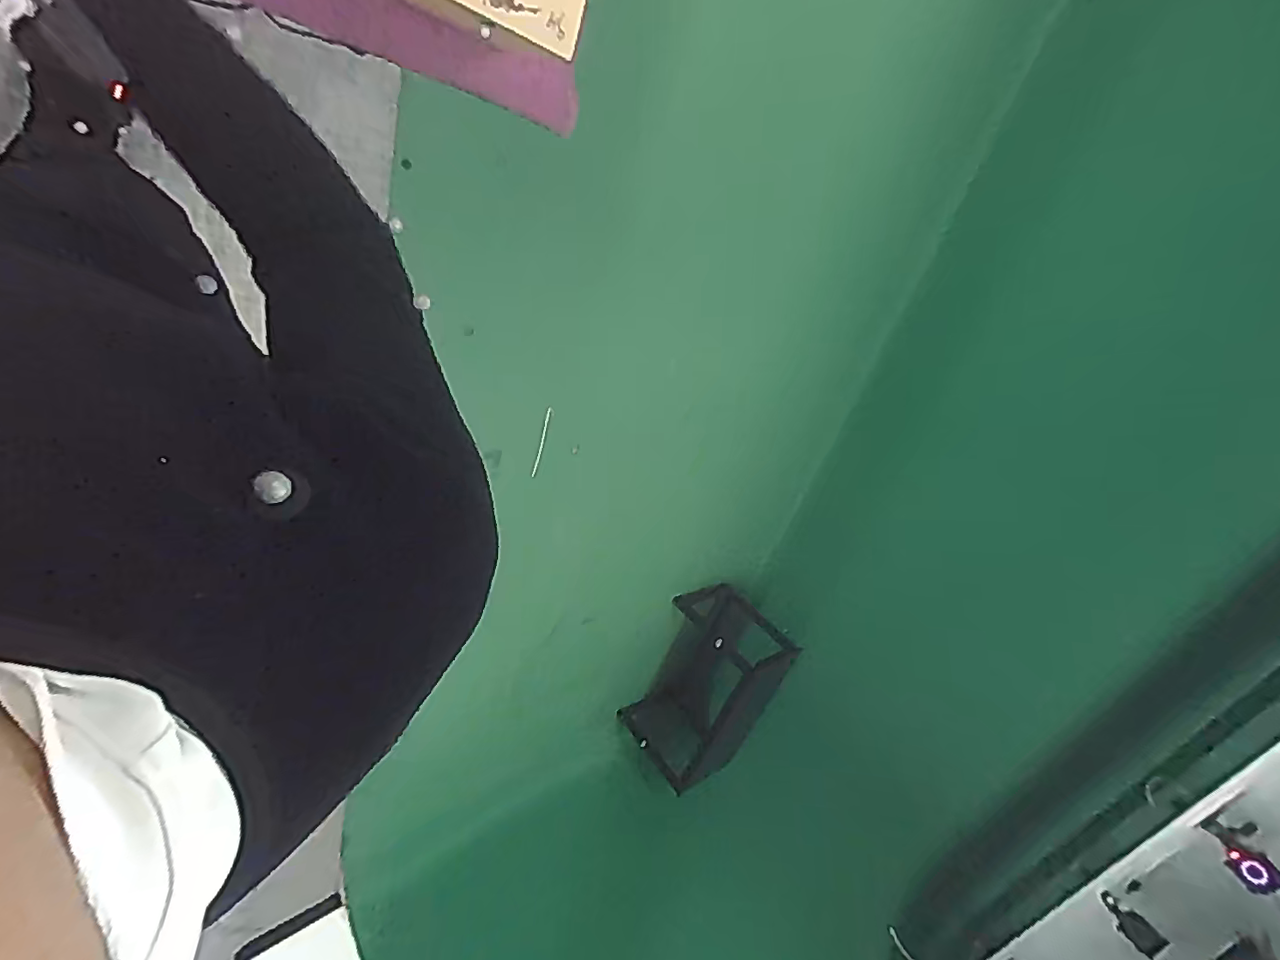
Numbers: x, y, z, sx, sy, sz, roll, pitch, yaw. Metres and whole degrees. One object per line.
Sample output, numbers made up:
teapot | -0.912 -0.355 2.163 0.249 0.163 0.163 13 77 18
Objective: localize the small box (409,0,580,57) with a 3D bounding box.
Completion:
small box | -0.167 -0.608 0.594 0.168 0.176 0.179 -5 127 -41
